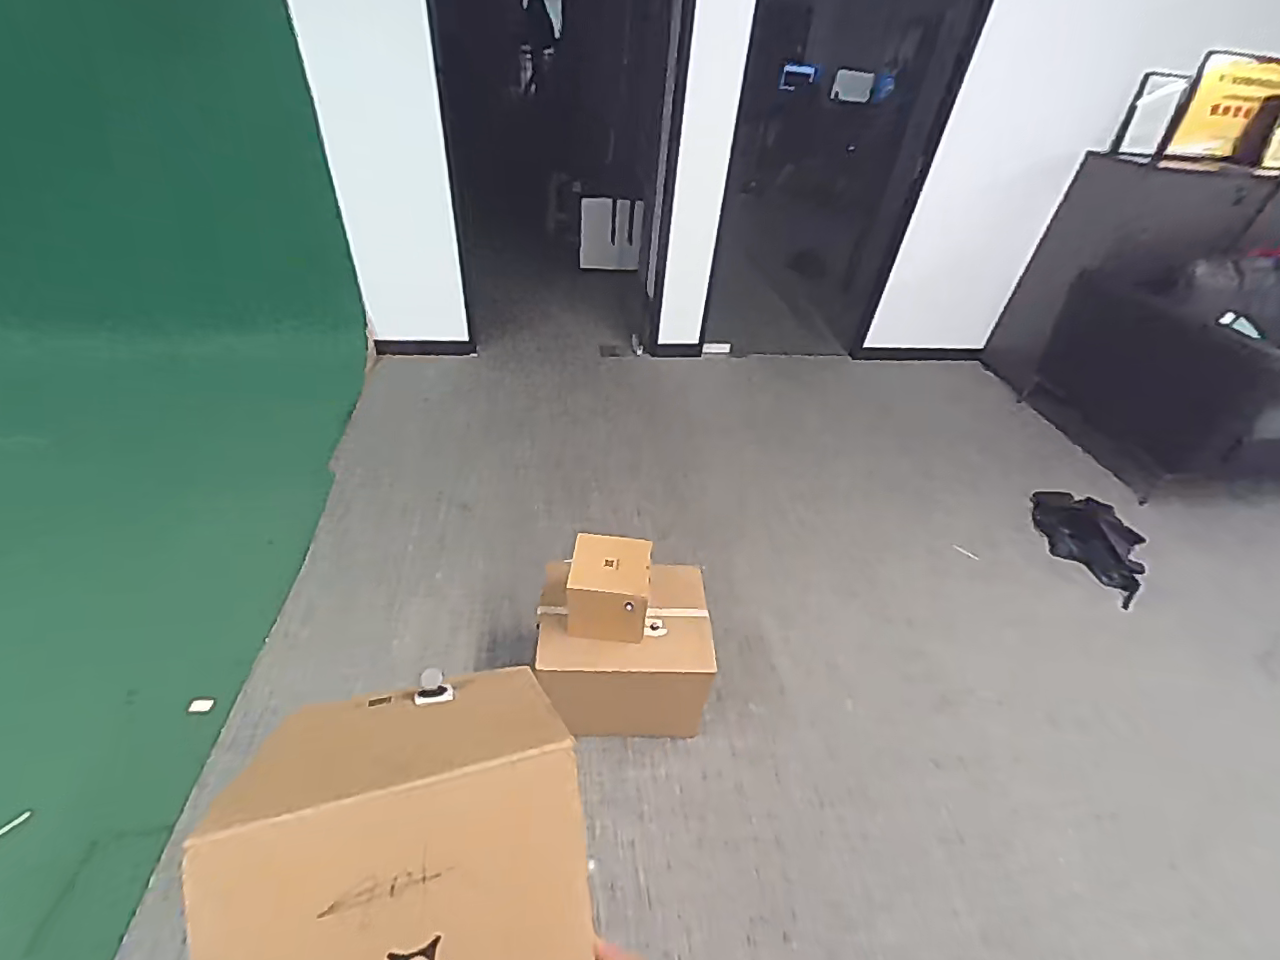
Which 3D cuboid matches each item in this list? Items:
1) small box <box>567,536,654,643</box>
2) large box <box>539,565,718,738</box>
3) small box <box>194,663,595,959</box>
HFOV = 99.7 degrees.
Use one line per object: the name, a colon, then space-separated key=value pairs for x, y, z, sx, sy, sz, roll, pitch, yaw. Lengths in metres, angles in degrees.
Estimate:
small box: x=-0.067 y=0.250 z=1.229 sx=0.179 sy=0.176 sz=0.168 roll=7 pitch=39 yaw=-1
large box: x=-0.046 y=0.440 z=1.386 sx=0.408 sy=0.320 sz=0.320 roll=3 pitch=40 yaw=-6
small box: x=-0.129 y=0.229 z=0.323 sx=0.168 sy=0.179 sz=0.176 roll=-5 pitch=-3 yaw=-22
